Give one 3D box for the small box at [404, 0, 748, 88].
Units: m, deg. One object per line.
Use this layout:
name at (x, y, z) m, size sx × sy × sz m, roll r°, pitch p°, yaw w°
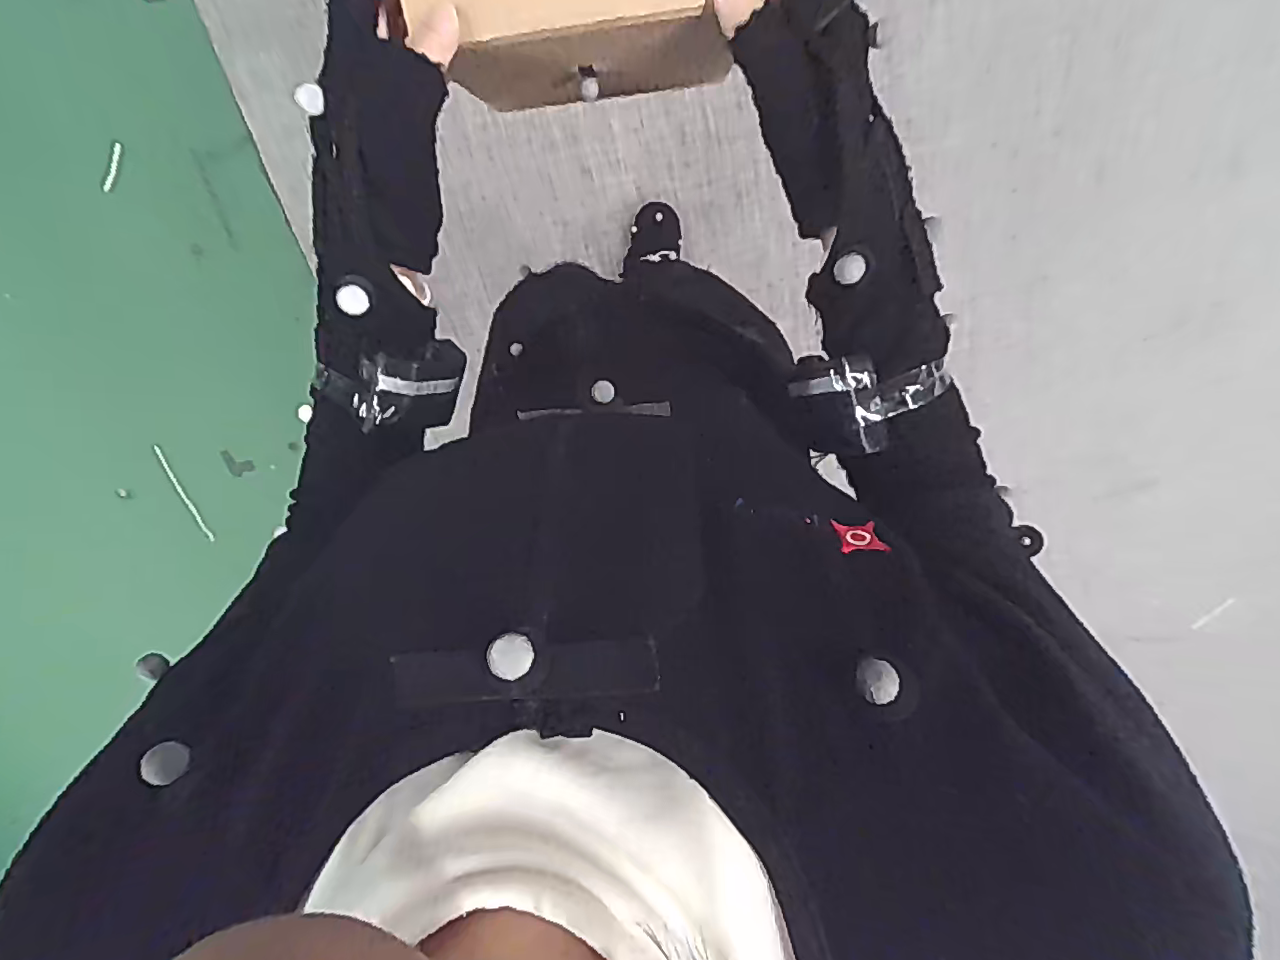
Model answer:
small box at (-0.035, -0.340, 0.300) m, size 0.179 × 0.176 × 0.168 m, roll -4°, pitch 116°, yaw 6°
